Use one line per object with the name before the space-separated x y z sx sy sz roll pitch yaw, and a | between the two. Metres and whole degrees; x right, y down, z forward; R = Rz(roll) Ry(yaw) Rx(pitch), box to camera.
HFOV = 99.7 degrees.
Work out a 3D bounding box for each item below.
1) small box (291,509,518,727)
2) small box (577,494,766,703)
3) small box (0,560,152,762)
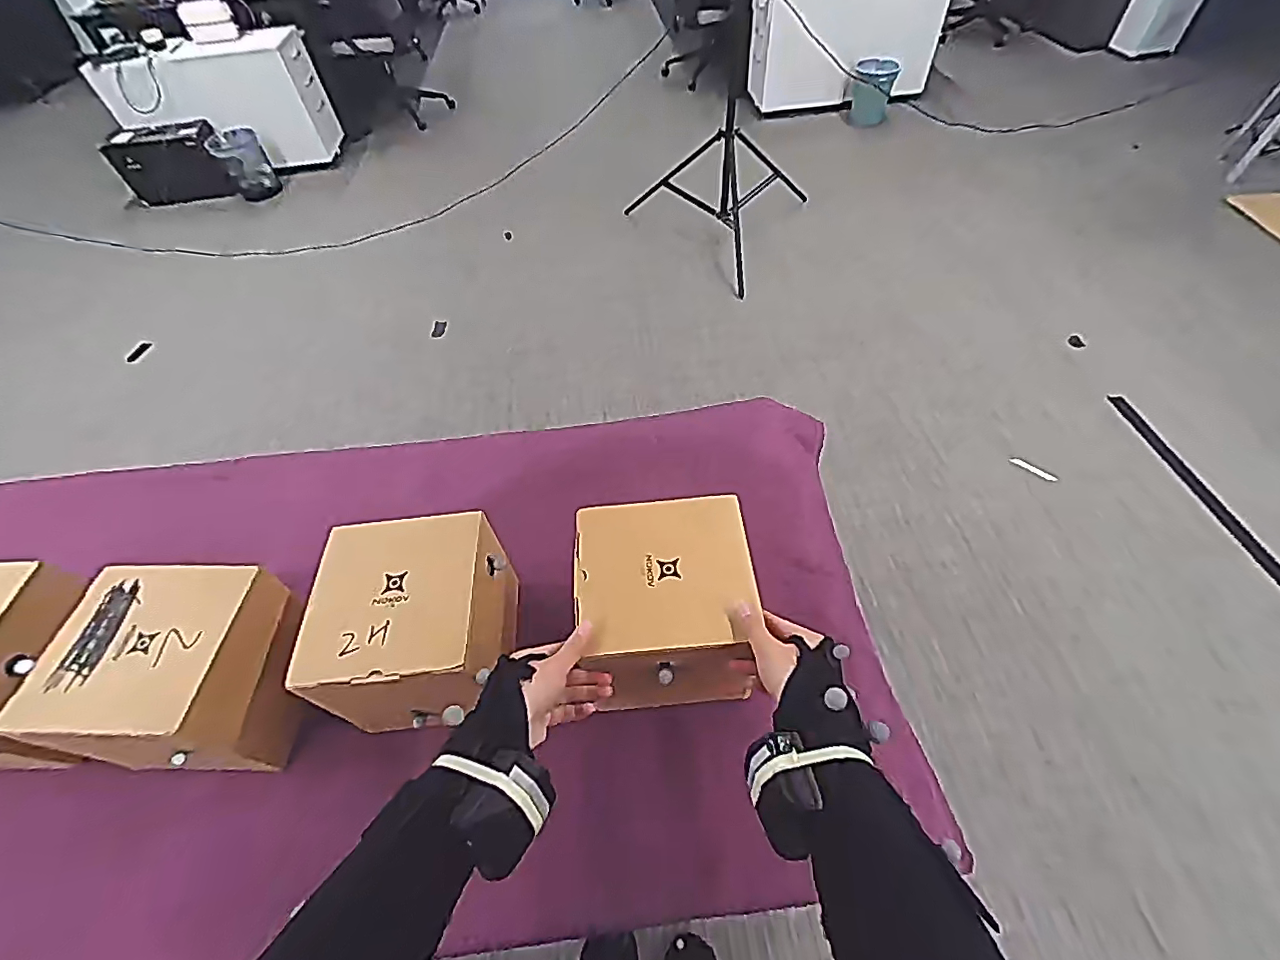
small box | -0.238 0.156 0.604 0.168 0.176 0.179 -7 52 0
small box | 0.029 0.136 0.600 0.179 0.176 0.168 -6 52 1
small box | -0.714 0.207 0.600 0.168 0.176 0.179 -2 53 2
